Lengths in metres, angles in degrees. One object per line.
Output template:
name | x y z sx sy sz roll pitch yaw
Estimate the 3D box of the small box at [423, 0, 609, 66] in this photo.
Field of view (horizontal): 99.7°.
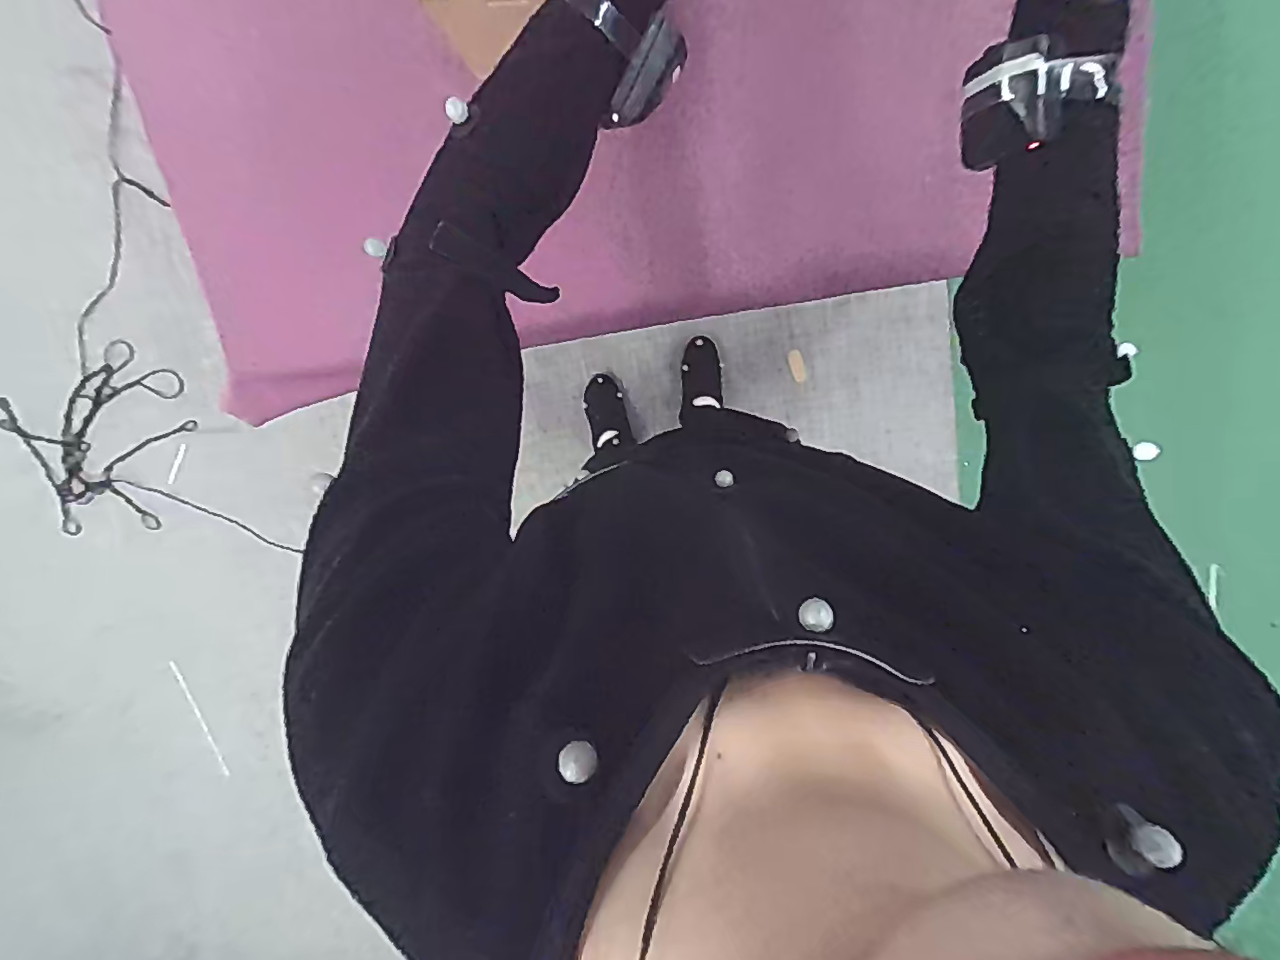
small box | -0.123 -0.556 0.554 0.168 0.176 0.179 0 104 3
